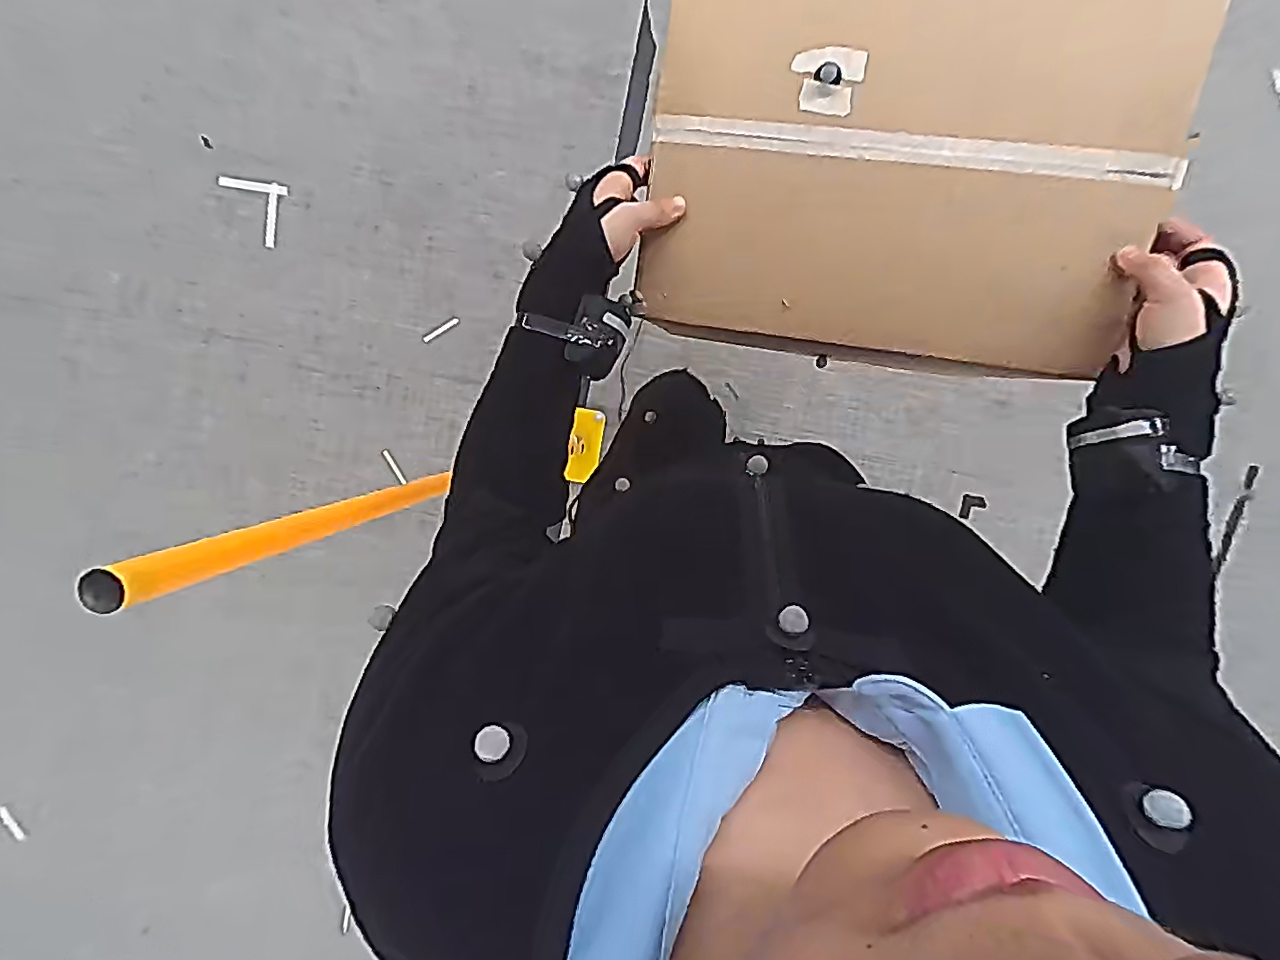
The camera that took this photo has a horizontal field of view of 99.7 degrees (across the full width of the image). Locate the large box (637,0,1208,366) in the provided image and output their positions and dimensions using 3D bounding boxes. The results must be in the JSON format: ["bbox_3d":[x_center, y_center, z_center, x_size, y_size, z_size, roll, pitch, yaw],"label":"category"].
[{"bbox_3d":[0.237,-0.303,0.593,0.408,0.320,0.320,10,102,9],"label":"large box"}]
